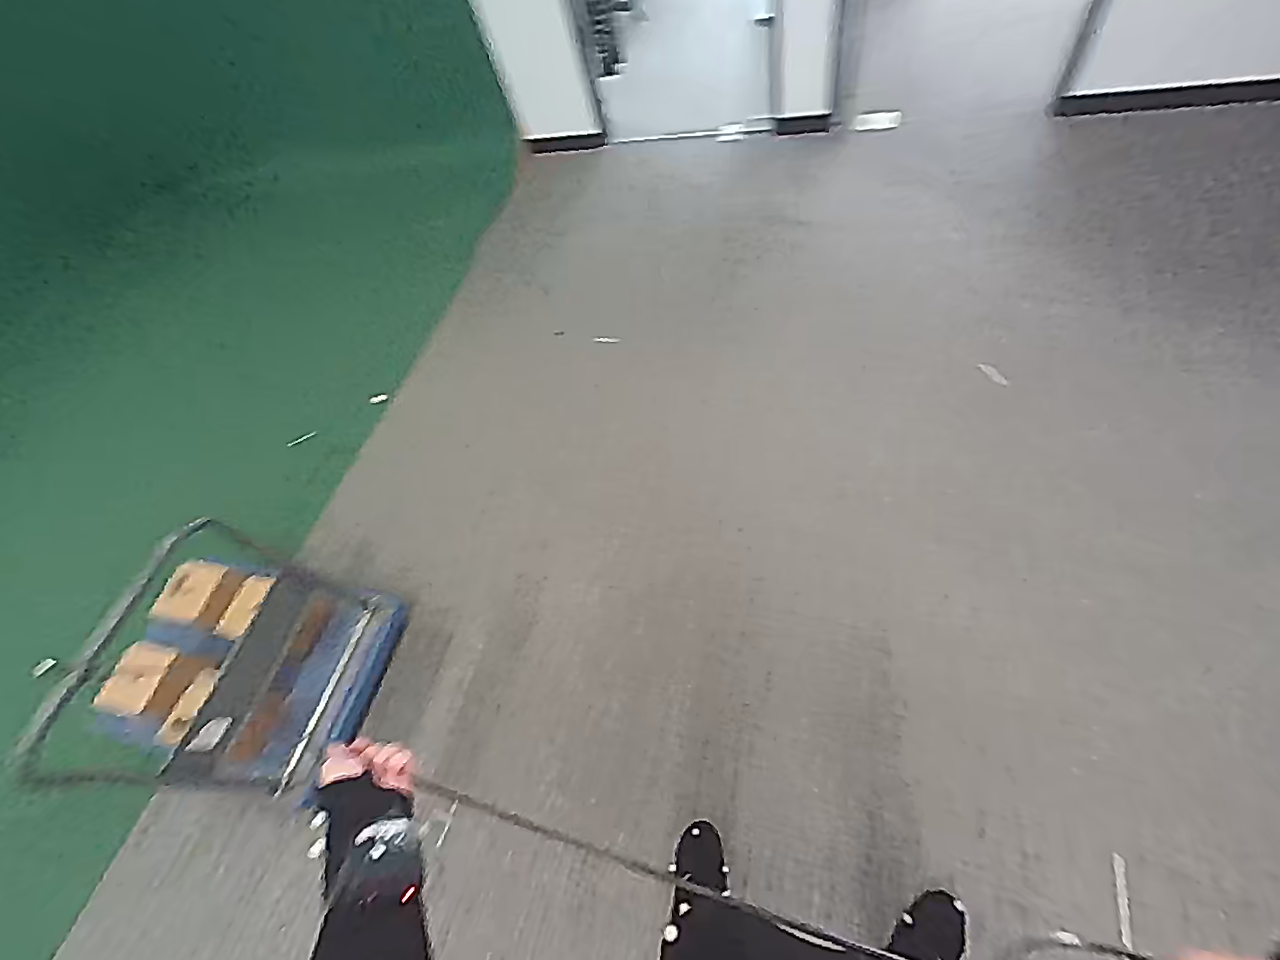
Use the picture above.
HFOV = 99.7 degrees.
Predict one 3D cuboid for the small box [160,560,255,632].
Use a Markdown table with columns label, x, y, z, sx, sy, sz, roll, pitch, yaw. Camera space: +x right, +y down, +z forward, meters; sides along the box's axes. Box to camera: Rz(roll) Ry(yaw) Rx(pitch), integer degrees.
| label | x | y | z | sx | sy | sz | roll | pitch | yaw |
| --- | --- | --- | --- | --- | --- | --- | --- | --- | --- |
| small box | -1.310 | 0.364 | 1.682 | 0.179 | 0.176 | 0.168 | 5 | 62 | 16 |

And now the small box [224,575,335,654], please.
| label | x | y | z | sx | sy | sz | roll | pitch | yaw |
| --- | --- | --- | --- | --- | --- | --- | --- | --- | --- |
| small box | -1.056 | 0.401 | 1.598 | 0.179 | 0.176 | 0.168 | 9 | 62 | 18 |

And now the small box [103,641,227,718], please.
| label | x | y | z | sx | sy | sz | roll | pitch | yaw |
| --- | --- | --- | --- | --- | --- | --- | --- | --- | --- |
| small box | -1.361 | 0.581 | 1.565 | 0.179 | 0.176 | 0.168 | 5 | 60 | 17 |
